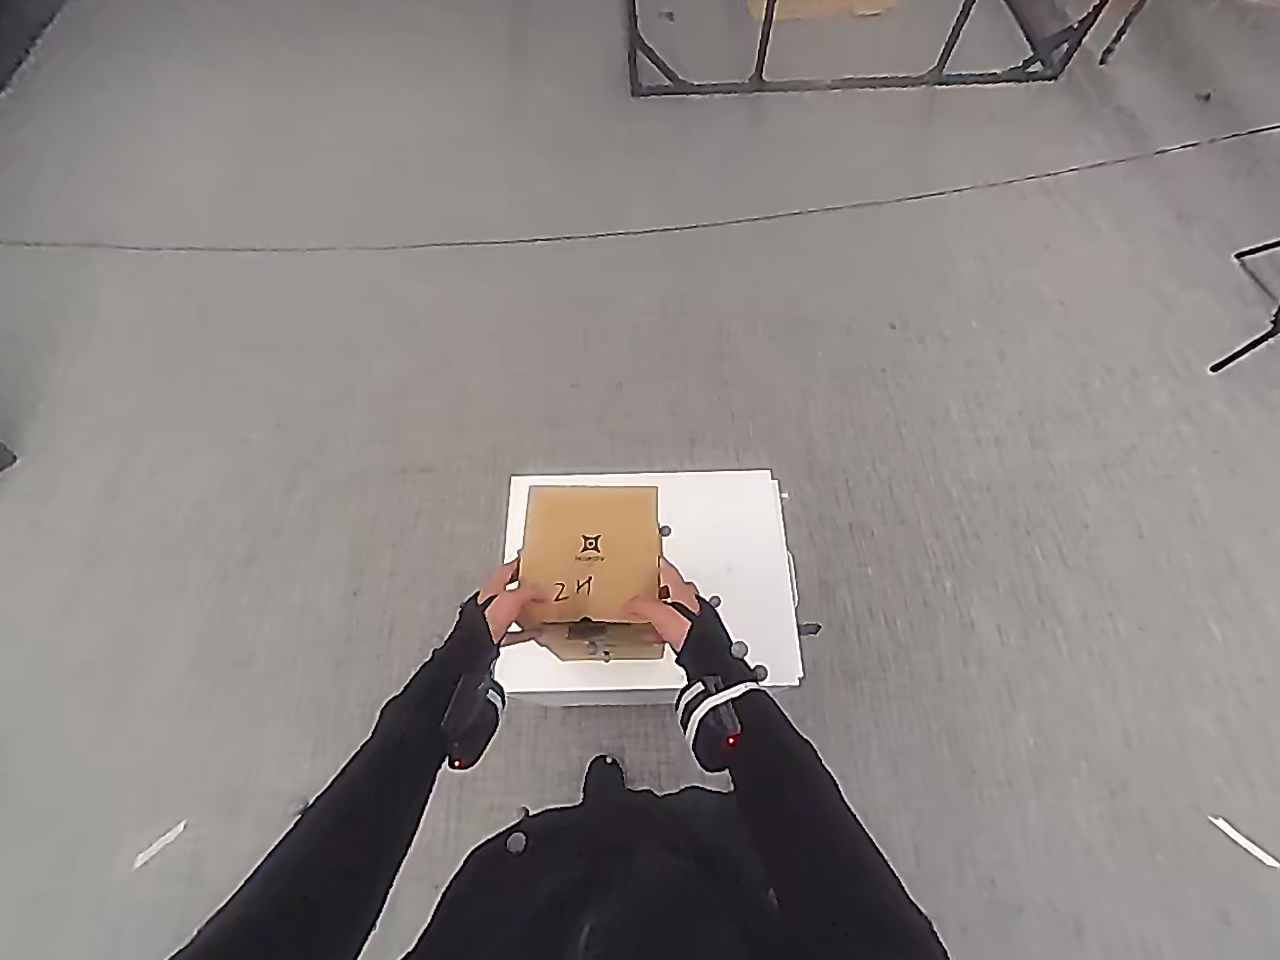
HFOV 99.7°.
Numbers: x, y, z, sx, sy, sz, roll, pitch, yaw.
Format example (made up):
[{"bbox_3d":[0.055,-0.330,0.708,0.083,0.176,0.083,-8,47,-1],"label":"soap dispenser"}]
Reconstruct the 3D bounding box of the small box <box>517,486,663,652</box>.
[{"bbox_3d":[-0.056,0.123,0.720,0.168,0.176,0.179,1,64,1],"label":"small box"}]
